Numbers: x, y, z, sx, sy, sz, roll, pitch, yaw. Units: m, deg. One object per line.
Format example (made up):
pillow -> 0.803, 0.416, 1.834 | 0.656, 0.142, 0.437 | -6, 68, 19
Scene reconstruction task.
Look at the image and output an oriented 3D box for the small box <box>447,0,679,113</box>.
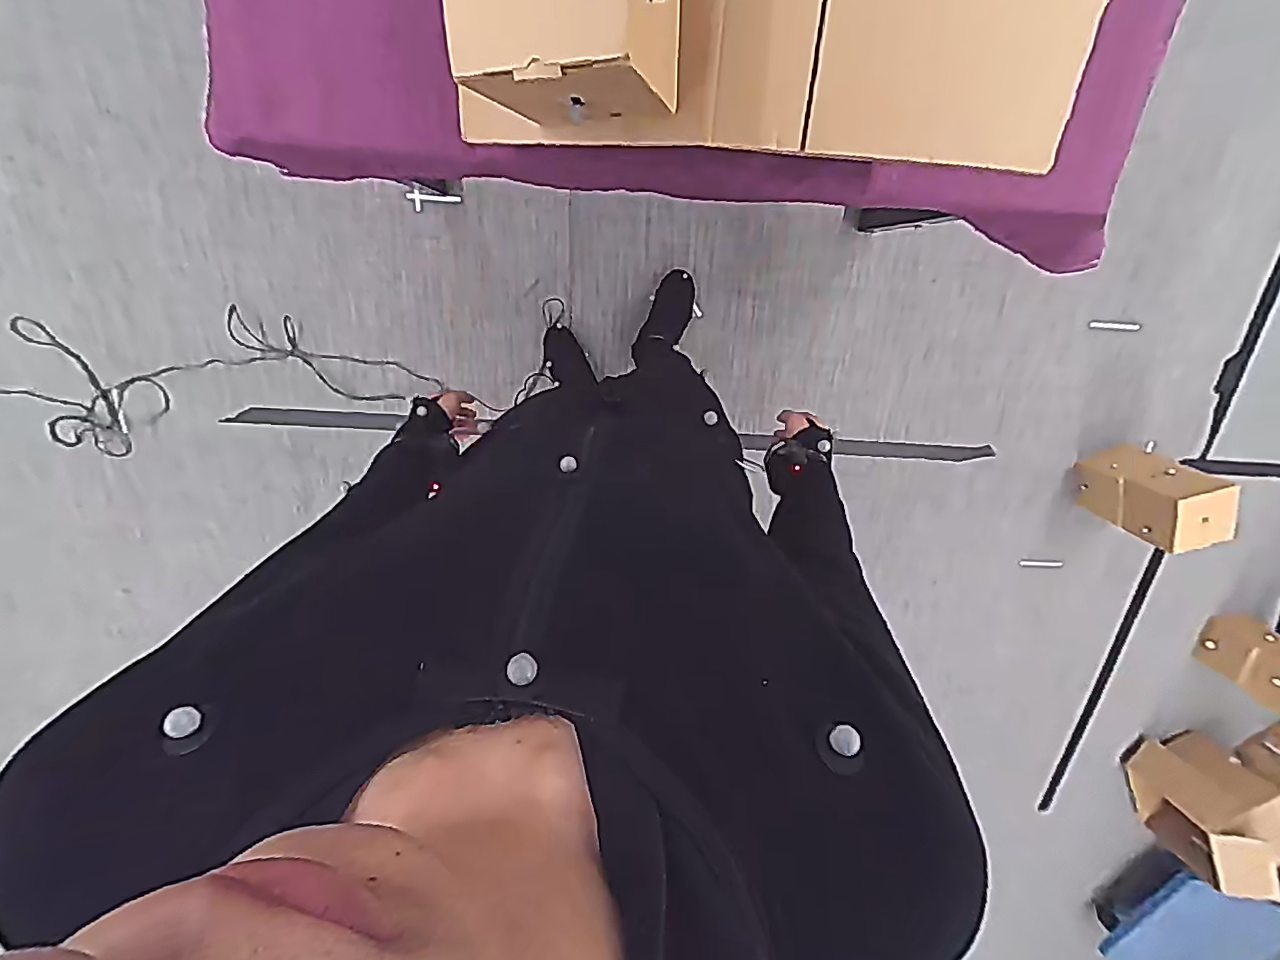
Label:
small box -> -0.060, -0.454, 0.494 | 0.168, 0.176, 0.179 | 7, 113, 15
